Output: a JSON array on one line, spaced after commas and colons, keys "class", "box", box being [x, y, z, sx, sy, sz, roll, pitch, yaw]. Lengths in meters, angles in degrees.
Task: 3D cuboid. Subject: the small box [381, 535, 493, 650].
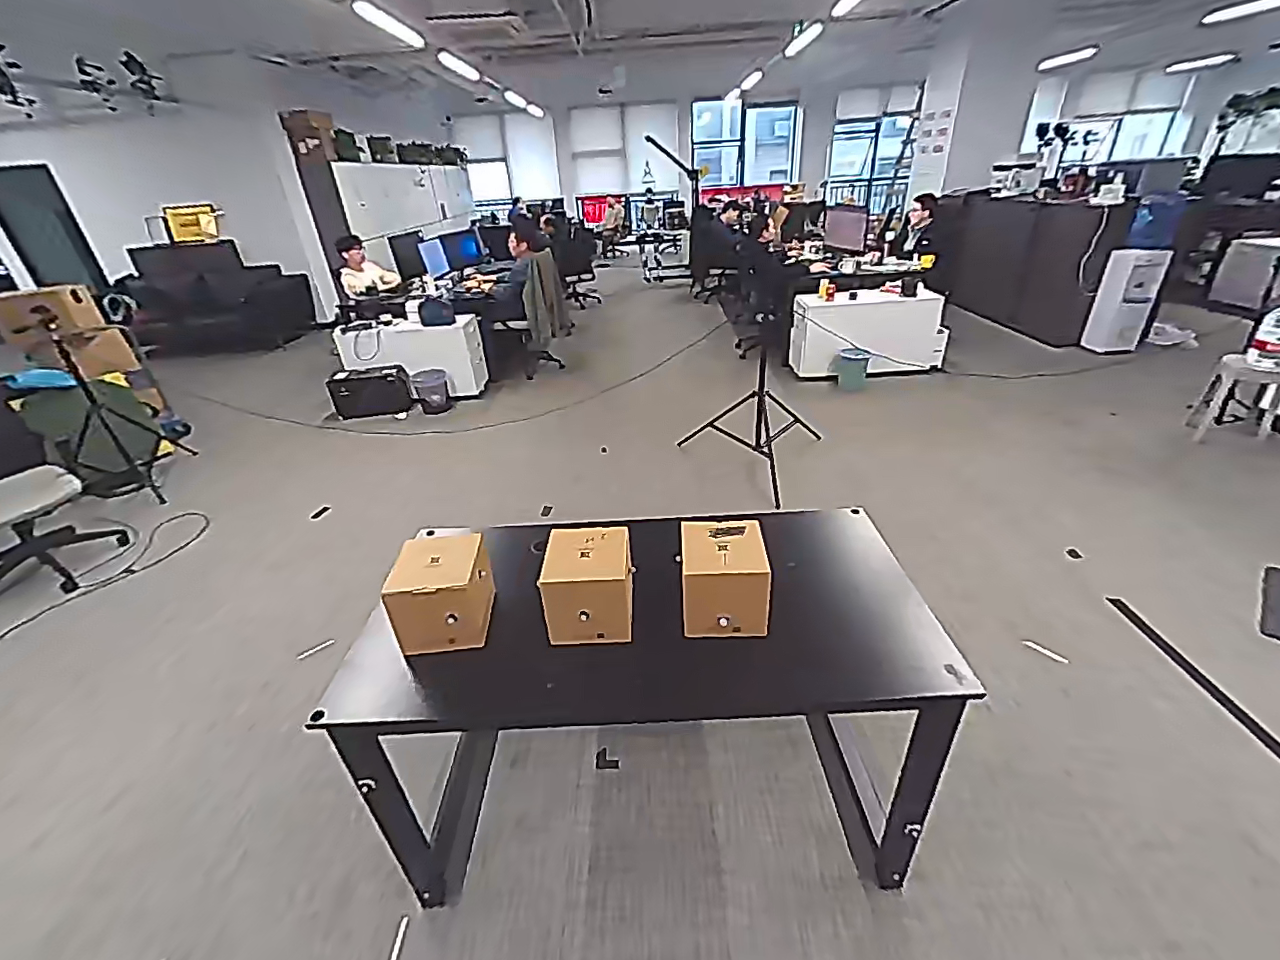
[{"class": "small box", "box": [-0.412, 0.239, 1.134, 0.168, 0.176, 0.179, -5, 29, -4]}]

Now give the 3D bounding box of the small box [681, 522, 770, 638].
[{"class": "small box", "box": [0.169, 0.203, 1.124, 0.168, 0.176, 0.179, -2, 30, 4]}]

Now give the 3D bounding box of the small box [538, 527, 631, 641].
[{"class": "small box", "box": [-0.105, 0.219, 1.129, 0.168, 0.176, 0.179, -2, 29, 2]}]
